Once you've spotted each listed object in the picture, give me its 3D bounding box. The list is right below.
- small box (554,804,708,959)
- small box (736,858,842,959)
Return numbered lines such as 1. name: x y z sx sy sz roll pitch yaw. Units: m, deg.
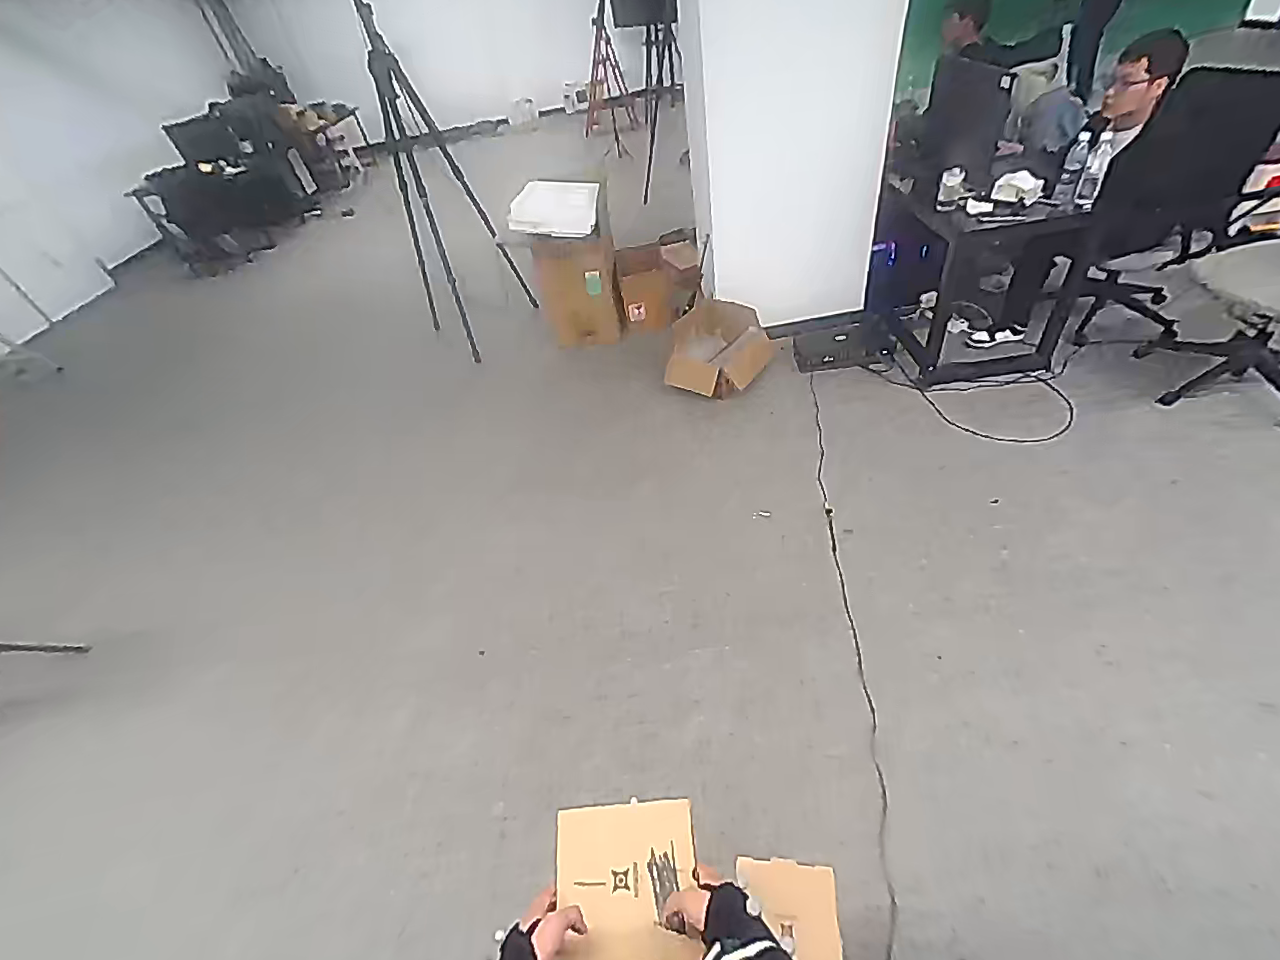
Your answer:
1. small box: -0.013 0.542 0.714 0.179 0.176 0.168 -4 49 -1
2. small box: 0.249 0.783 0.927 0.168 0.176 0.179 -2 43 12
